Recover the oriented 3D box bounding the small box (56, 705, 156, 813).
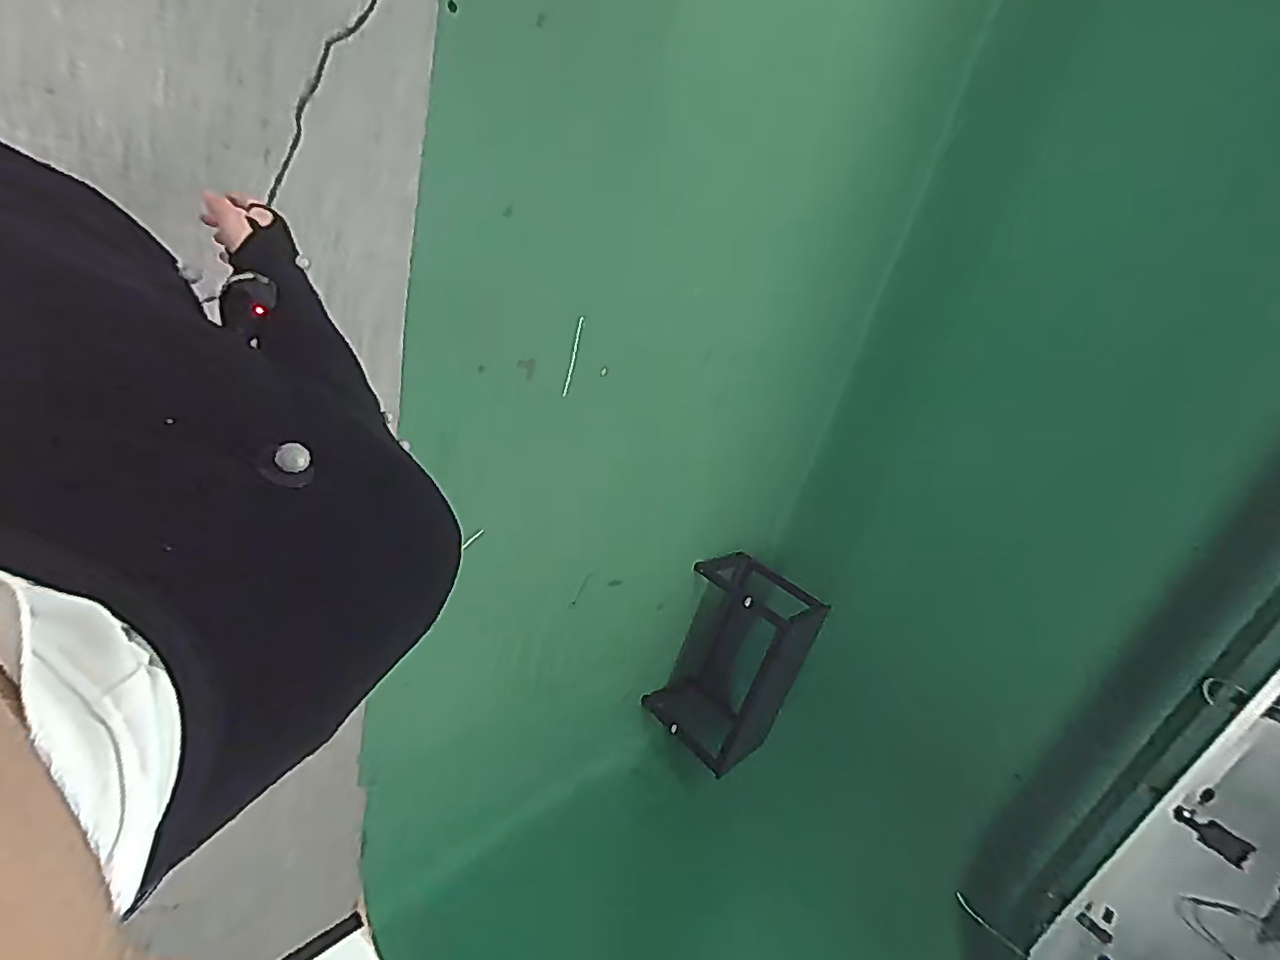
[{"bbox_3d":[-1.441,0.743,1.456,0.179,0.176,0.168,3,113,-50],"label":"small box"}]

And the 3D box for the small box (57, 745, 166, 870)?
[{"bbox_3d":[-1.327,0.809,1.355,0.179,0.176,0.168,3,114,-51],"label":"small box"}]
